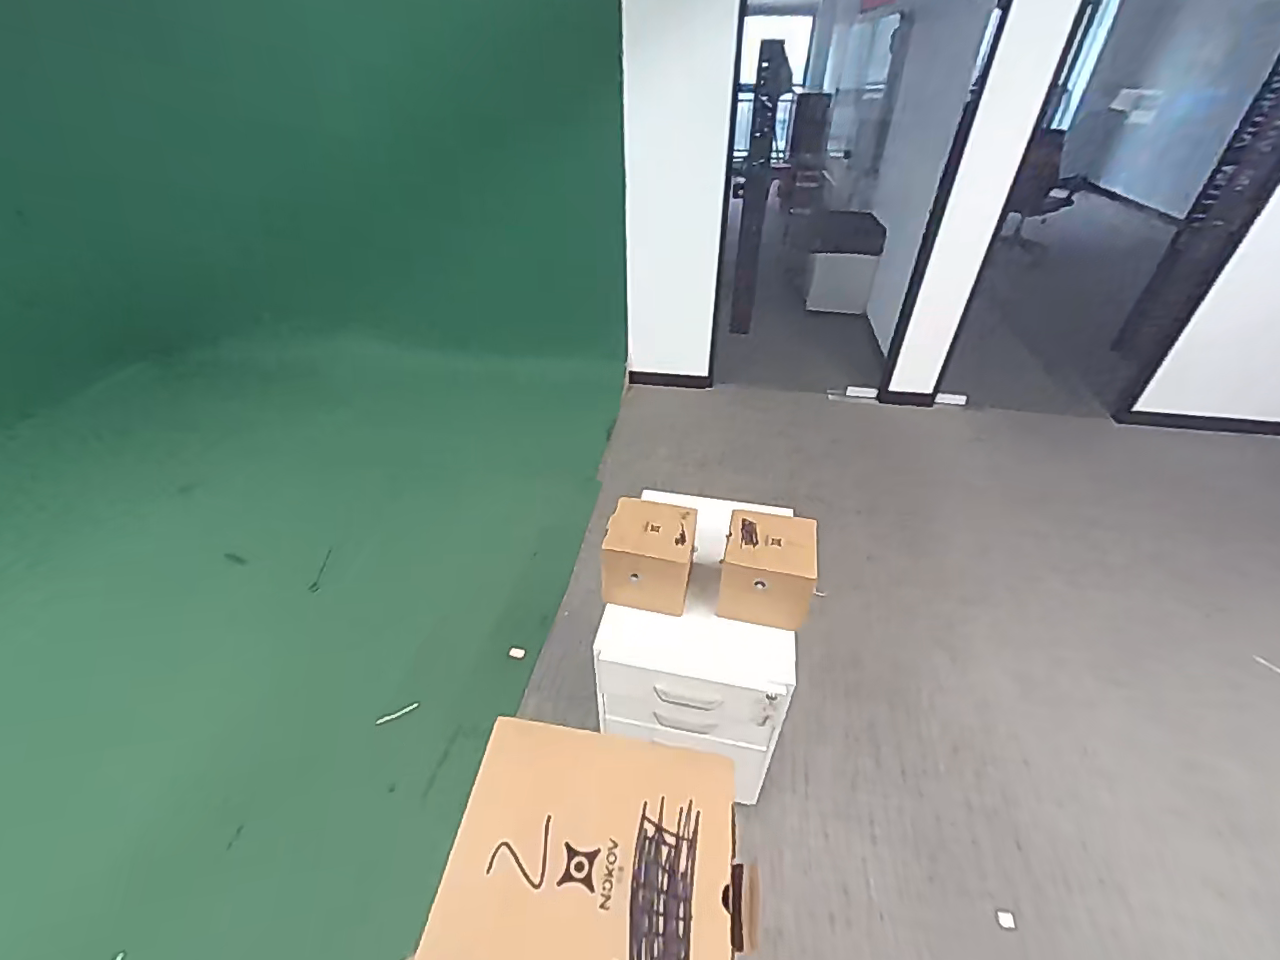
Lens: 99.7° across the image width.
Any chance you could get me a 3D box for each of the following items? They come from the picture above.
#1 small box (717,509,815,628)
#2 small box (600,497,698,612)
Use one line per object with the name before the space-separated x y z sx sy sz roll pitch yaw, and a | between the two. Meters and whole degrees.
small box | 0.262 0.186 1.133 0.179 0.176 0.168 9 40 11
small box | 0.021 0.160 1.161 0.179 0.176 0.168 9 40 9
